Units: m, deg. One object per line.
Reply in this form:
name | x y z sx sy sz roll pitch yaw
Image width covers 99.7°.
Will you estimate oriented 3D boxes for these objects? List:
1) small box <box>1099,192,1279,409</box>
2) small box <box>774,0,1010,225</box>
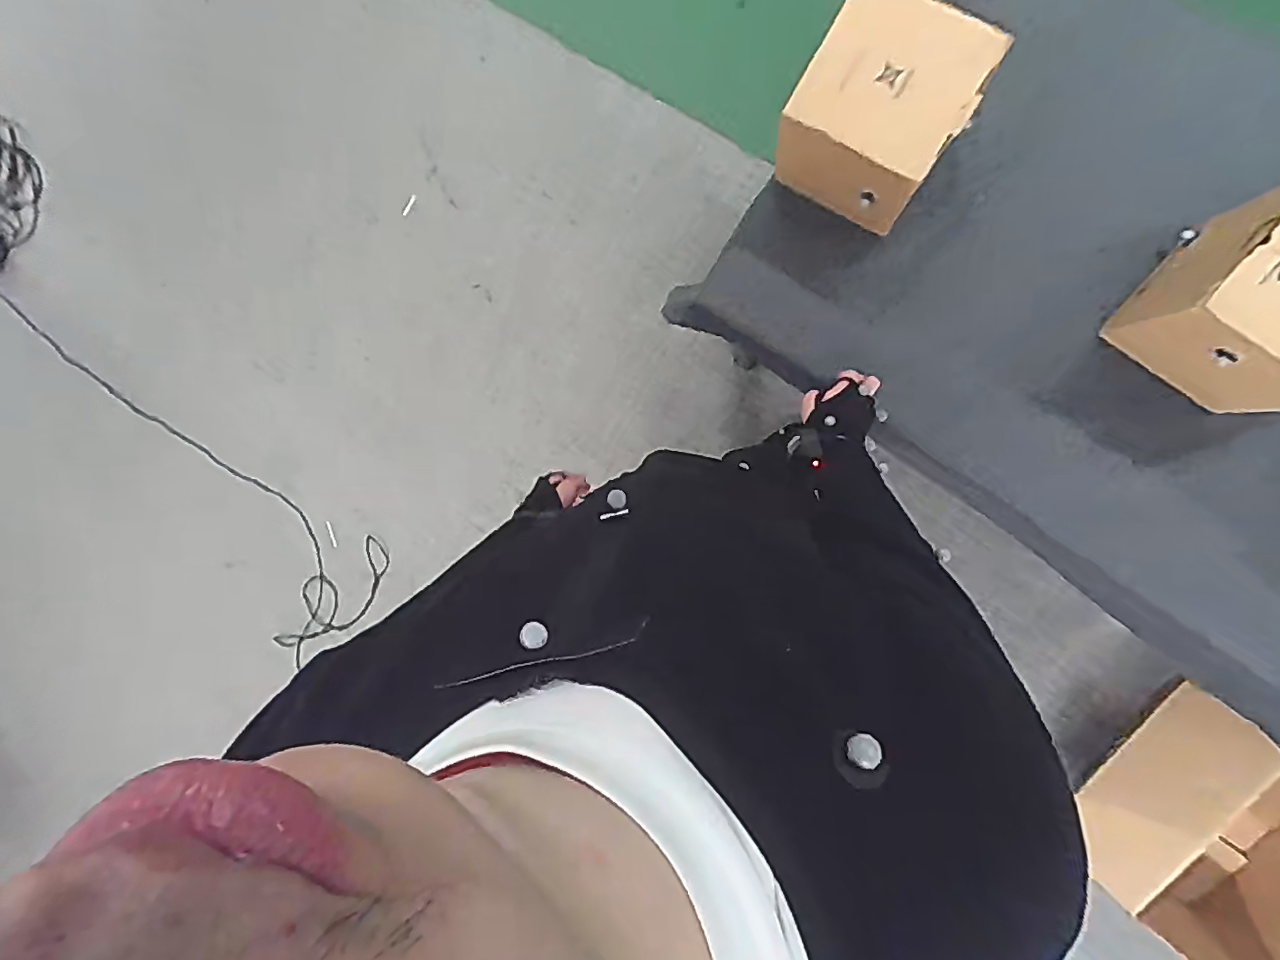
small box | 0.684 -0.190 0.602 0.179 0.176 0.168 42 104 5
small box | 0.279 -0.436 0.648 0.179 0.176 0.168 32 100 8
